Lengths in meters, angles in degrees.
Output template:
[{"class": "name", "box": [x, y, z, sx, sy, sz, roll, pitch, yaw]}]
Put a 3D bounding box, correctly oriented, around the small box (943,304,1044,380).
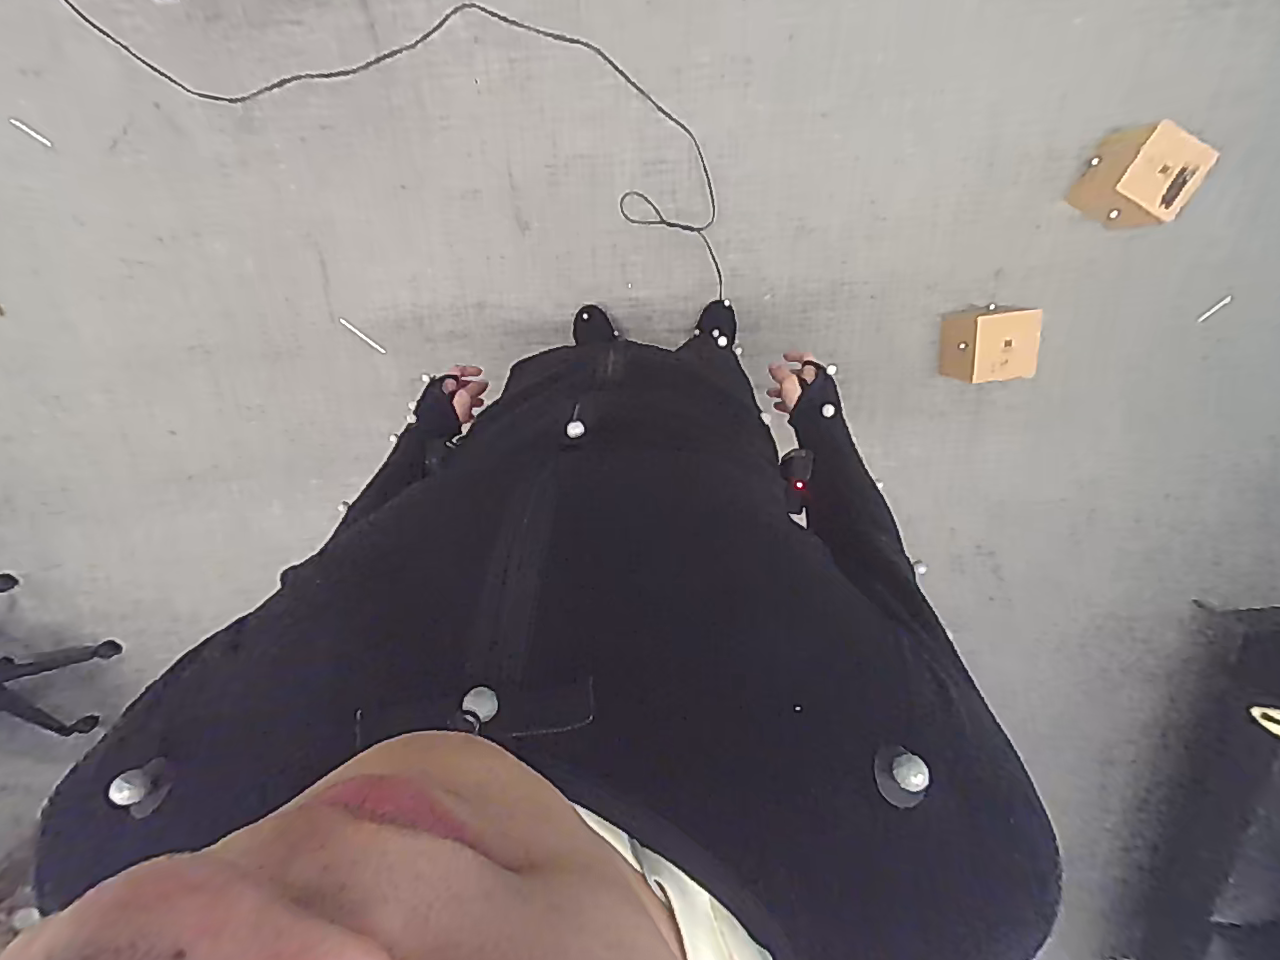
[{"class": "small box", "box": [0.947, -0.378, 1.465, 0.168, 0.176, 0.179, -7, 110, 3]}]
